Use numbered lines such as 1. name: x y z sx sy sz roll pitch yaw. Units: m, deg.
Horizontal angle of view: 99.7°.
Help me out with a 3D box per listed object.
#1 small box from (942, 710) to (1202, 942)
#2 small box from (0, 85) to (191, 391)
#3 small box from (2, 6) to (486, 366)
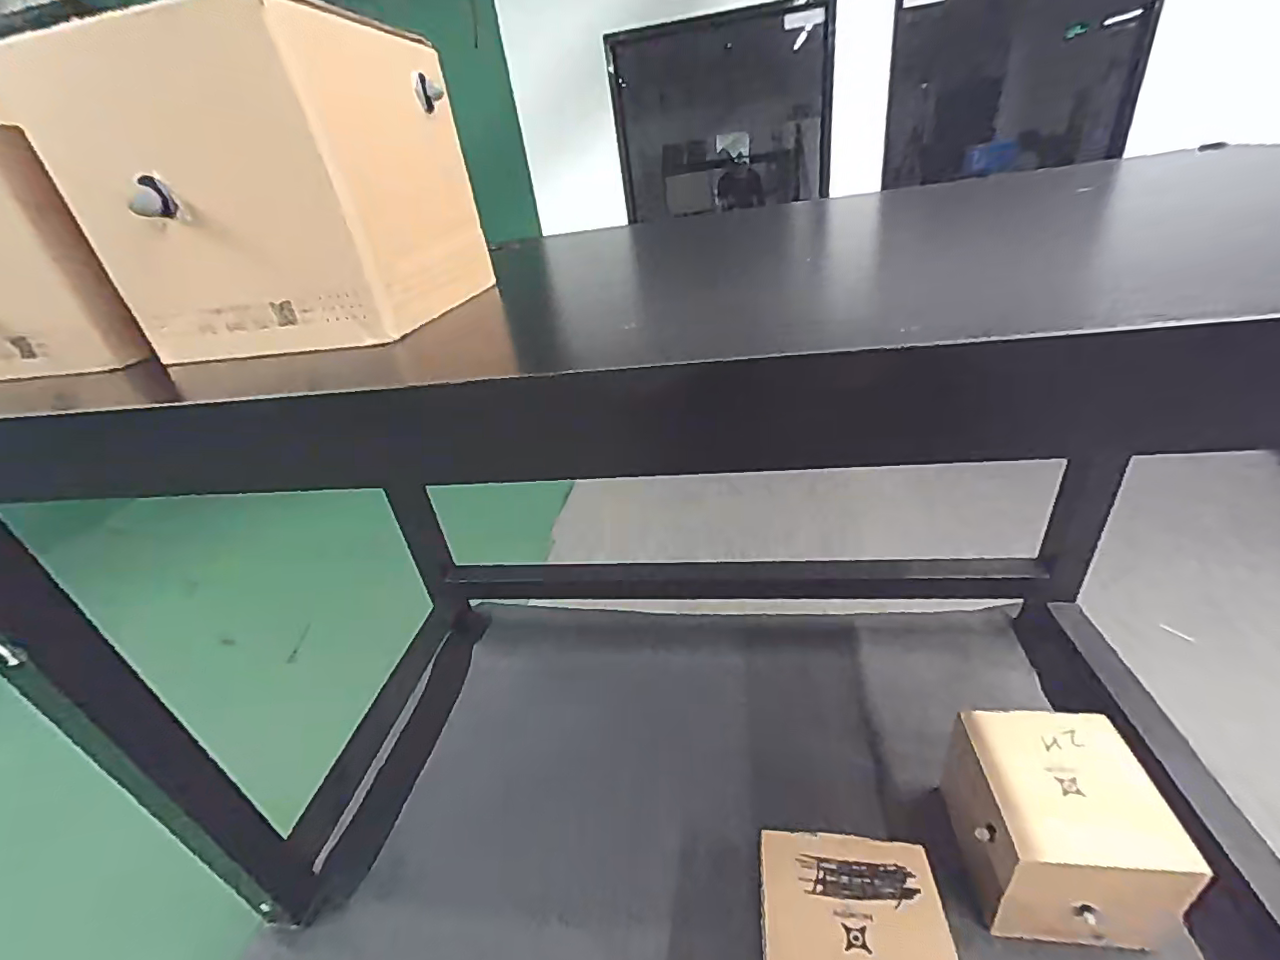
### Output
1. small box: 0.479 0.400 0.637 0.168 0.176 0.179 -3 29 11
2. small box: -0.419 -0.176 0.406 0.168 0.176 0.179 -3 31 10
3. small box: -0.226 -0.182 0.372 0.168 0.176 0.179 -3 30 11
